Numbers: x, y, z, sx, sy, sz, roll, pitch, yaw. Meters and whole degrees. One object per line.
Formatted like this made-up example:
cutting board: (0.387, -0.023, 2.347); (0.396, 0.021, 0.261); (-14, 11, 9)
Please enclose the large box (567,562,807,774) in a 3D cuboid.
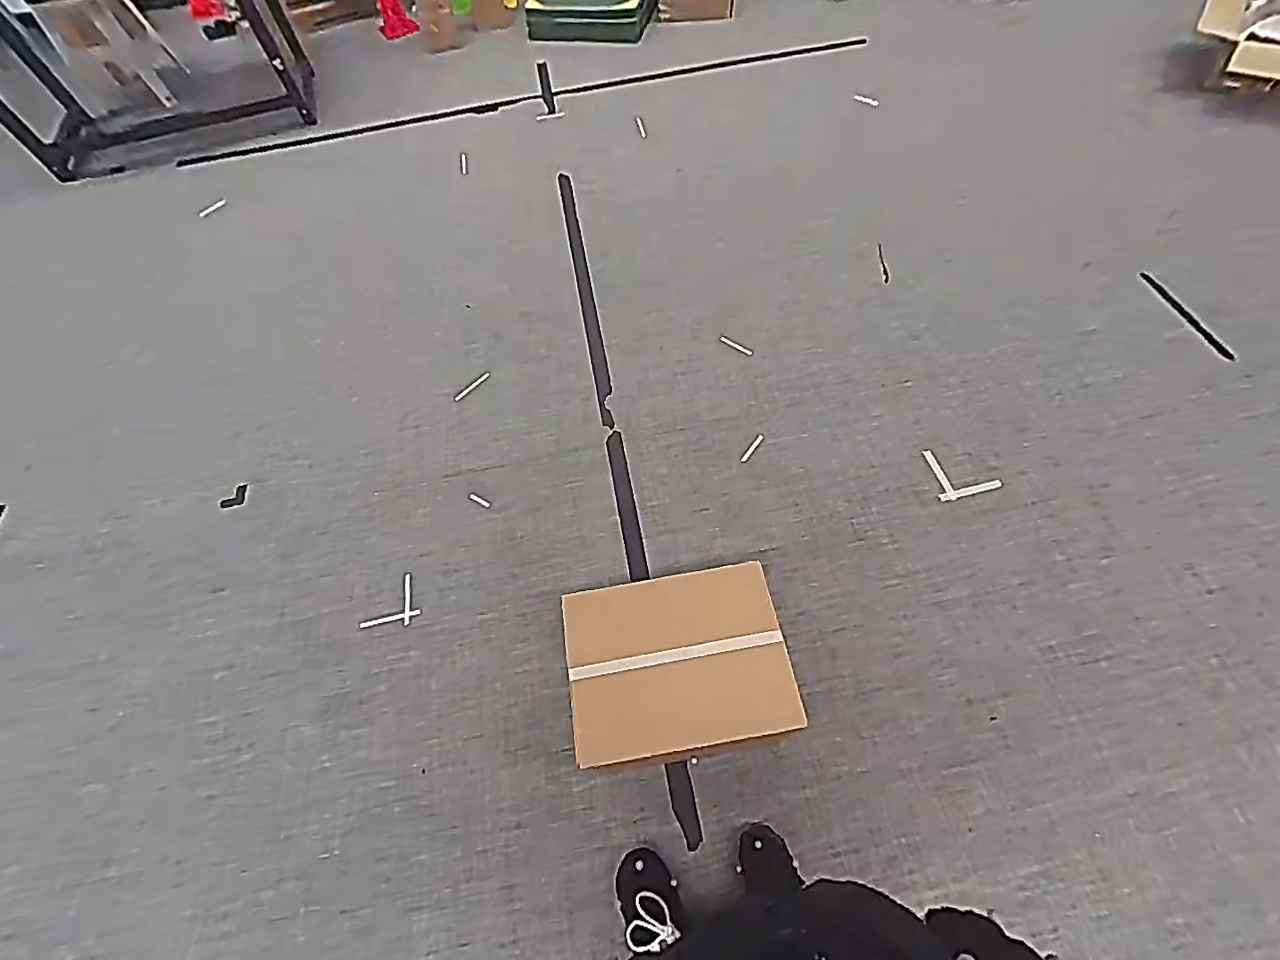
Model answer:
large box: (0.083, 0.405, 1.138); (0.408, 0.320, 0.320); (-10, 60, -1)
